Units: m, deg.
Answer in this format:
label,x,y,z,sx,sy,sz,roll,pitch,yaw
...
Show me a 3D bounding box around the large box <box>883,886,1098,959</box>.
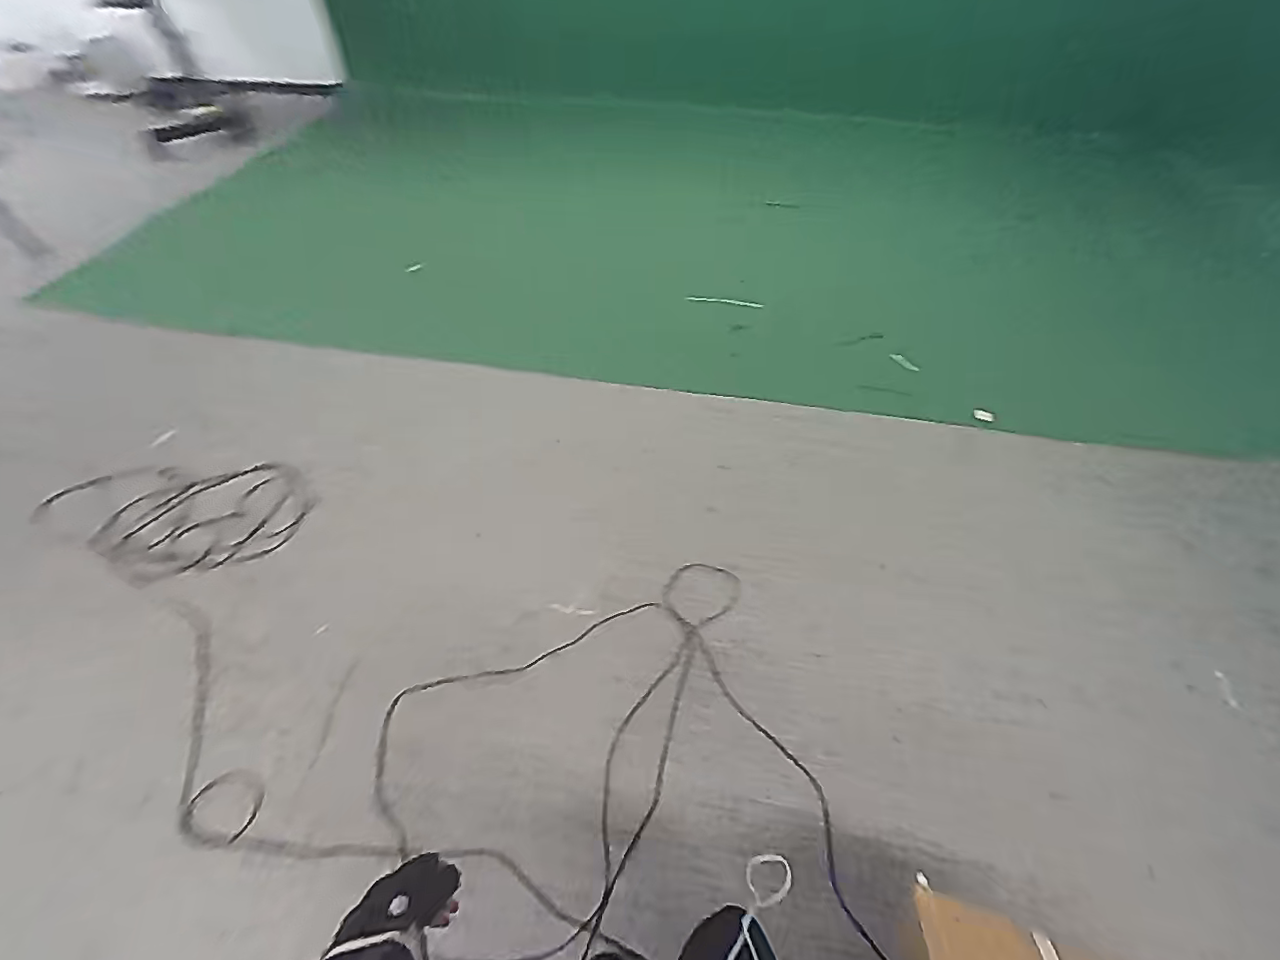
label,x,y,z,sx,sy,sz,roll,pitch,yaw
large box,0.441,0.784,0.578,0.320,0.320,0.408,15,8,16
